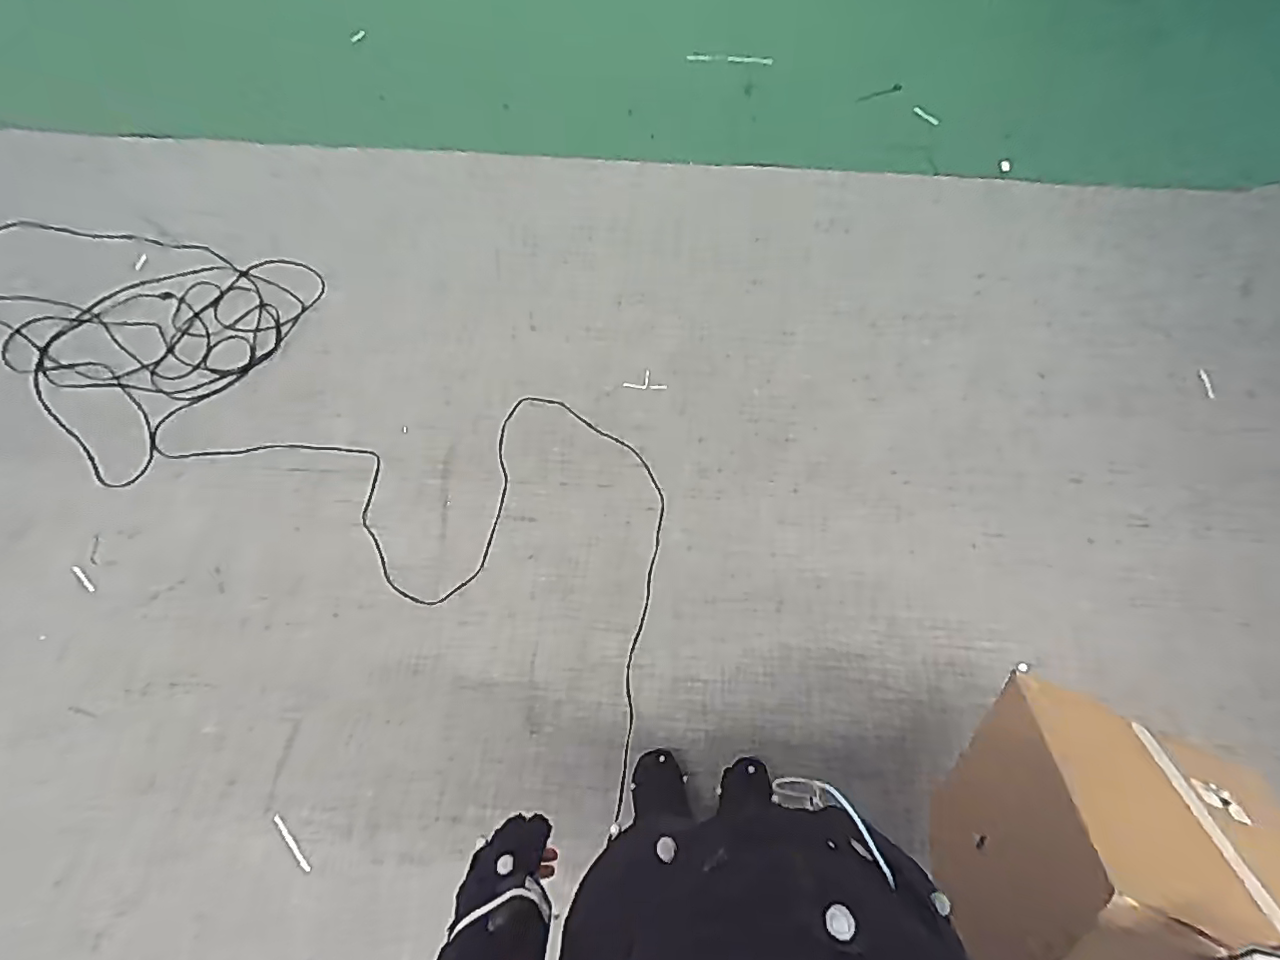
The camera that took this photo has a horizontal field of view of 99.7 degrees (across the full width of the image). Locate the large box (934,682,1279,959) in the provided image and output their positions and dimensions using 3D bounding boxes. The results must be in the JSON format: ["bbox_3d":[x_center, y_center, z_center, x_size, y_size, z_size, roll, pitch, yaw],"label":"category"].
[{"bbox_3d":[0.598,0.539,0.658,0.320,0.408,0.320,24,108,18],"label":"large box"}]
